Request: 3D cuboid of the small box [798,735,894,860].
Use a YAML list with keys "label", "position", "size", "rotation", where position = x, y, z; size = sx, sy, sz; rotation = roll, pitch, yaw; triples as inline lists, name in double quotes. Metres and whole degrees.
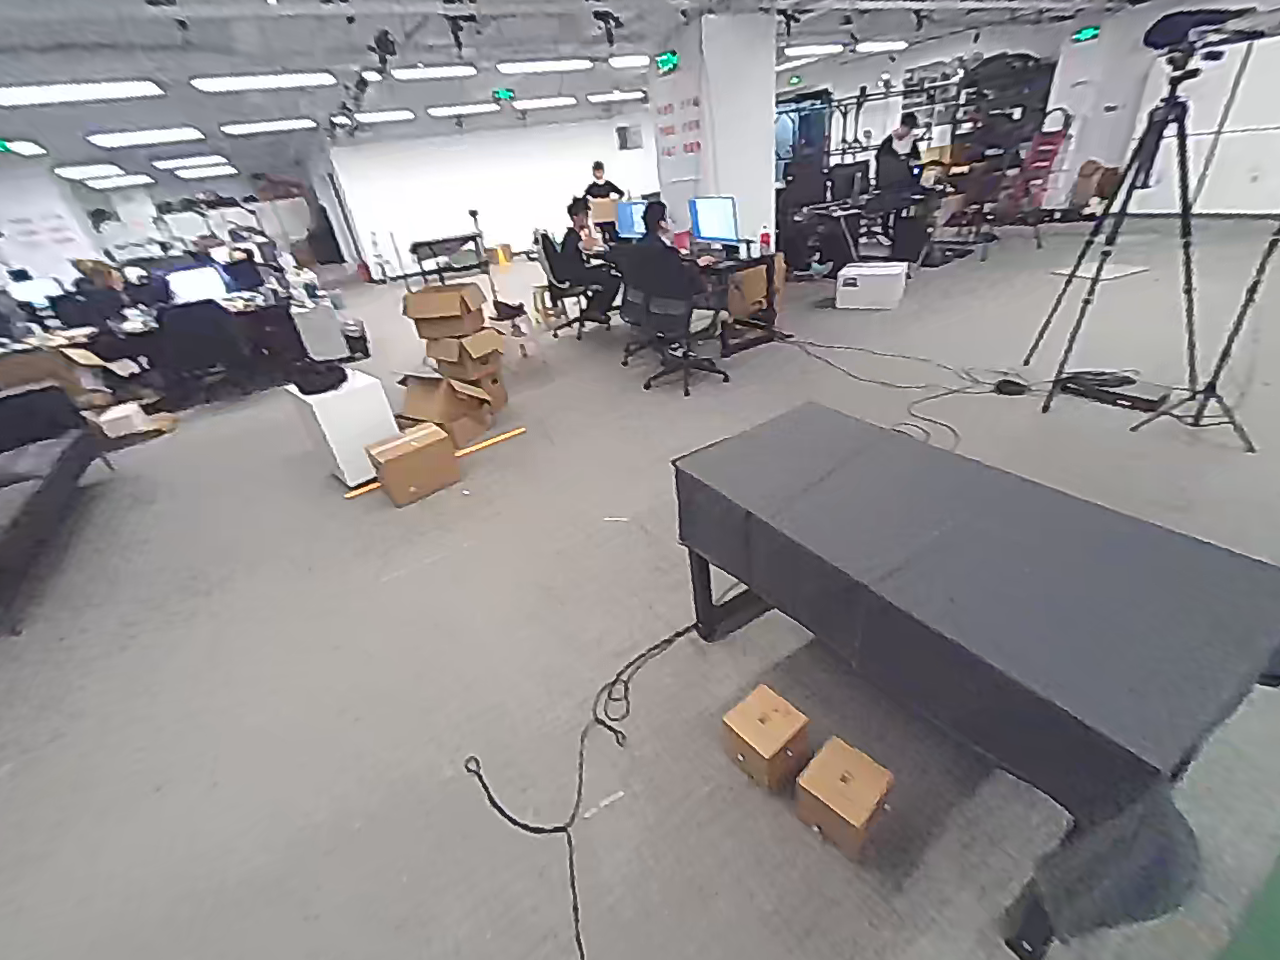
- label: "small box"
  position: [0.513, 0.800, 1.368]
  size: [0.179, 0.176, 0.168]
  rotation: [-30, 37, -33]
